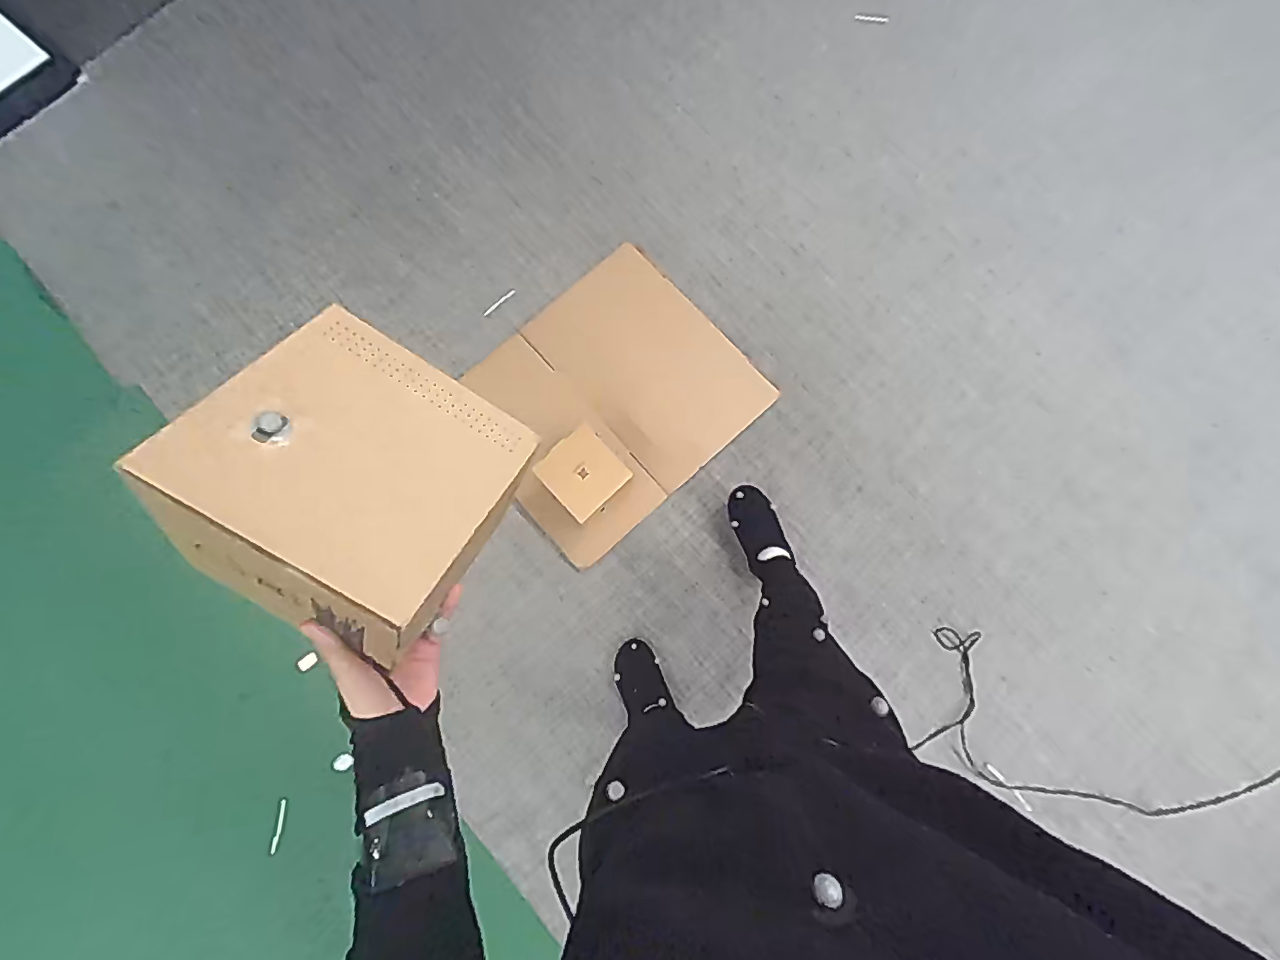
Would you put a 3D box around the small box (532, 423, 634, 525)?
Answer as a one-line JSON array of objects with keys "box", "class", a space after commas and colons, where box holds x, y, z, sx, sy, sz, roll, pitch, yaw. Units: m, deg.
[{"box": [-0.128, -0.006, 1.300, 0.168, 0.176, 0.179, -43, 81, -6], "class": "small box"}]
